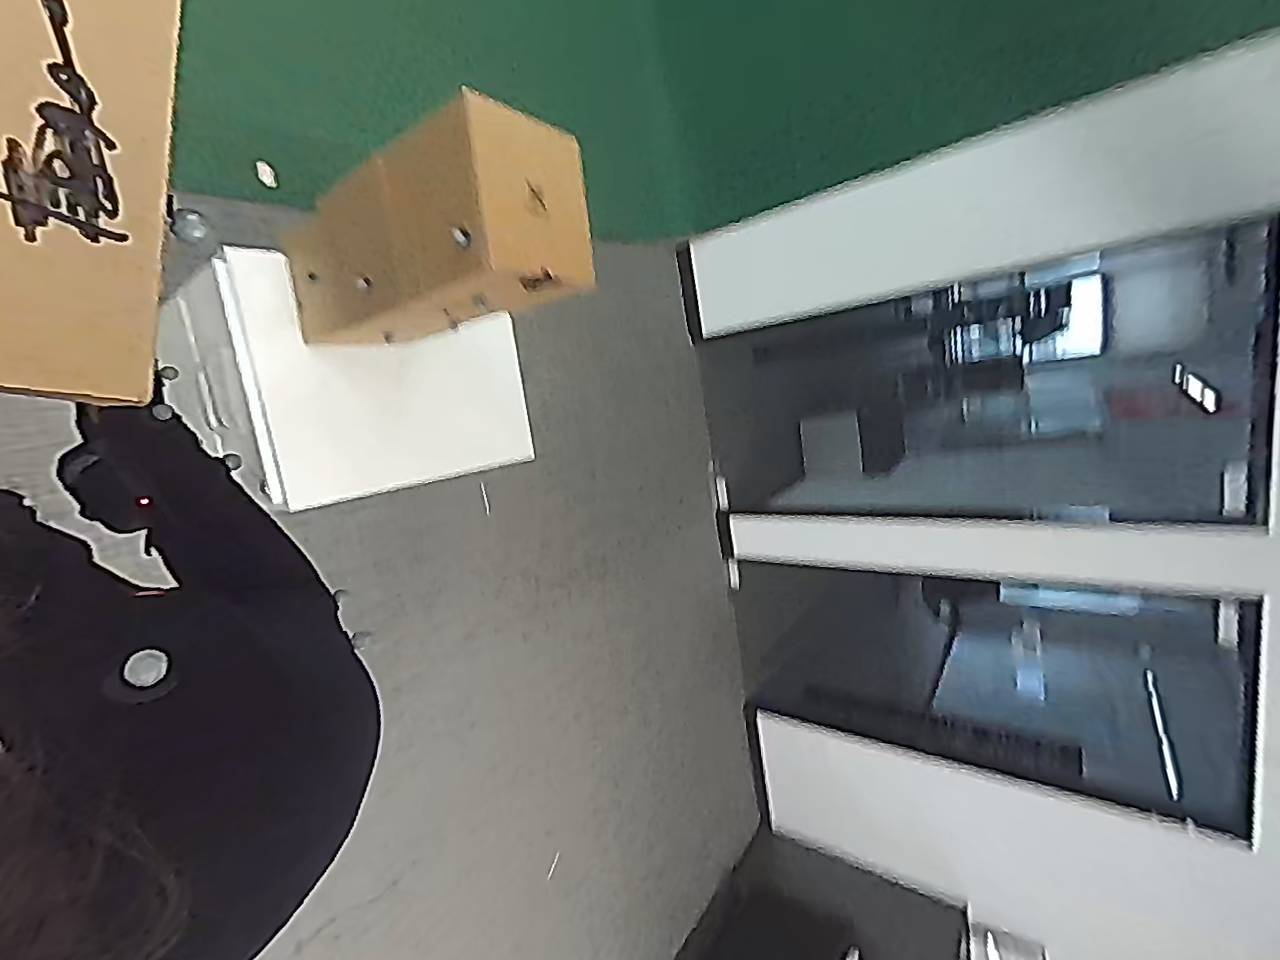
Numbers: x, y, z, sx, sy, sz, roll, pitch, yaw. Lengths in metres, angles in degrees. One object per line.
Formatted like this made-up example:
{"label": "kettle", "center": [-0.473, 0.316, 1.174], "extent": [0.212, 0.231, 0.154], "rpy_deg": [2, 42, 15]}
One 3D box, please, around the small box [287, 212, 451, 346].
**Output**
{"label": "small box", "center": [-0.435, -0.309, 0.865], "extent": [0.179, 0.176, 0.168], "rpy_deg": [-17, 104, -51]}

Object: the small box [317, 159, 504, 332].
{"label": "small box", "center": [-0.316, -0.306, 0.754], "extent": [0.168, 0.176, 0.179], "rpy_deg": [-20, 105, -52]}

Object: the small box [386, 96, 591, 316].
{"label": "small box", "center": [-0.184, -0.310, 0.658], "extent": [0.168, 0.176, 0.179], "rpy_deg": [-16, 103, -52]}
